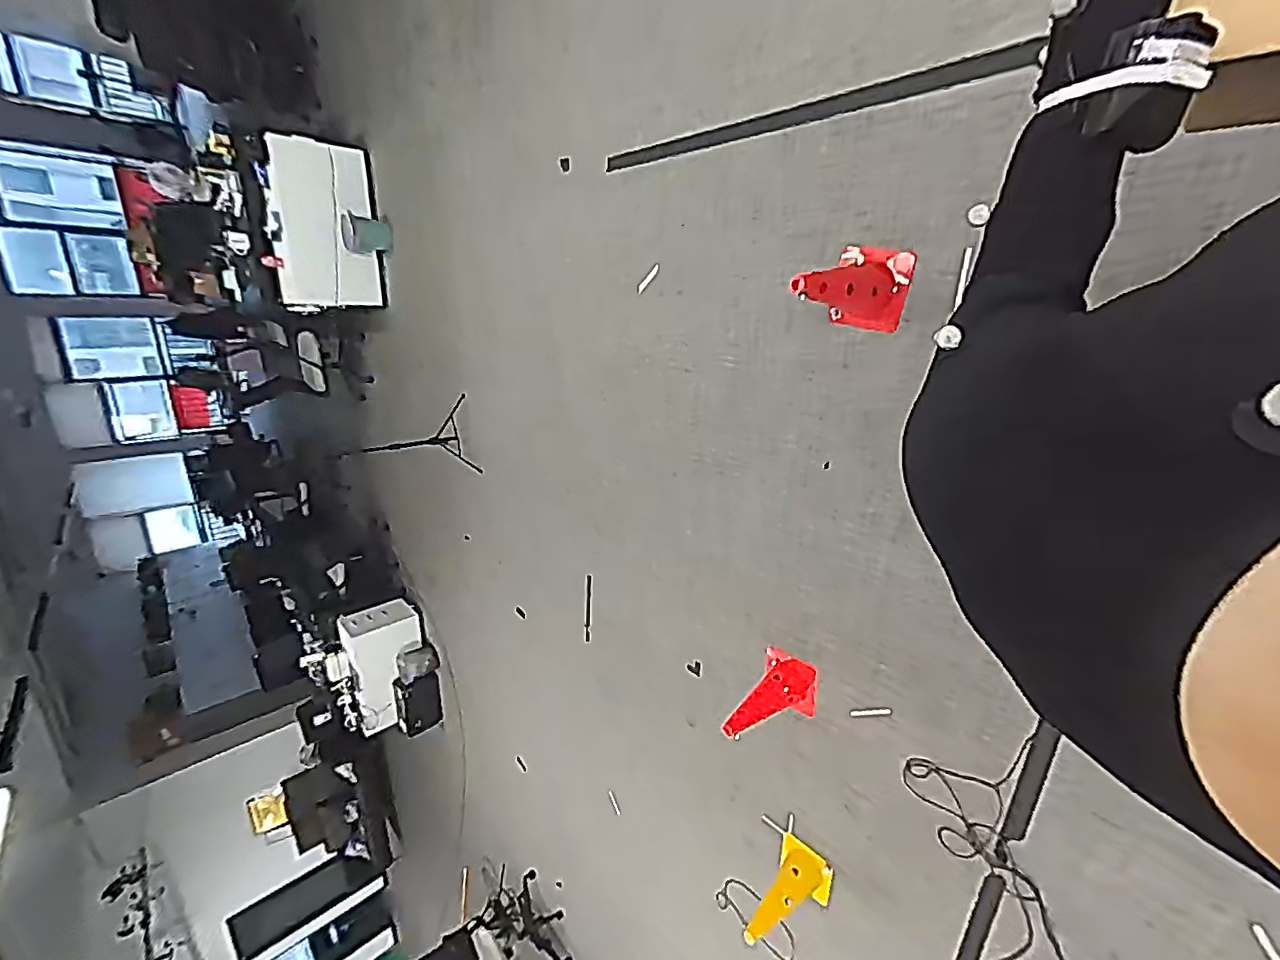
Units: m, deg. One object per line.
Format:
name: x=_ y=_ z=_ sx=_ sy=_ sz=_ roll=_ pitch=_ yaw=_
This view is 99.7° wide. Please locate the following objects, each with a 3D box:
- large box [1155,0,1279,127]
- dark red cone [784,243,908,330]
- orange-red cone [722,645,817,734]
large box: x=0.586 y=-0.420 z=0.278 sx=0.408 sy=0.320 sz=0.320 roll=20 pitch=120 yaw=42
dark red cone: x=0.467 y=-0.475 z=1.306 sx=0.201 sy=0.394 sz=0.202 roll=27 pitch=120 yaw=40
orange-red cone: x=0.400 y=0.733 z=1.783 sx=0.198 sy=0.360 sz=0.199 roll=18 pitch=116 yaw=46
